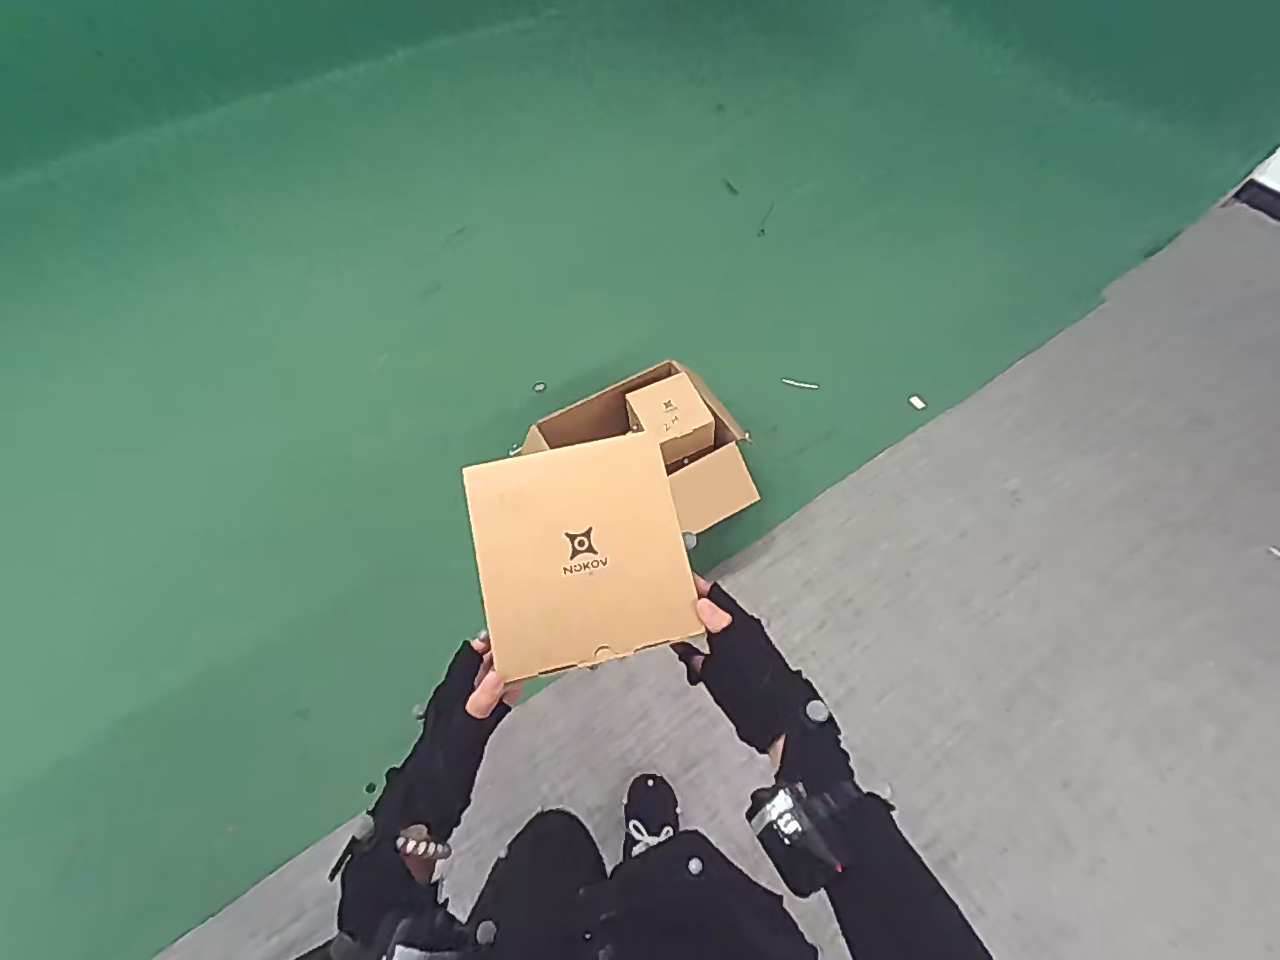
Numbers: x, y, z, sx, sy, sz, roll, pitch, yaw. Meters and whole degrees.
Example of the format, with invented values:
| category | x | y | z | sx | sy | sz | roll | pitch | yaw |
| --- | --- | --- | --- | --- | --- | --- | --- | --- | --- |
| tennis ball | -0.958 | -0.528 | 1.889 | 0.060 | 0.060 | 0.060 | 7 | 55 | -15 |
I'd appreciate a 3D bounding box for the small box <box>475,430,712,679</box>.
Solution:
| category | x | y | z | sx | sy | sz | roll | pitch | yaw |
| --- | --- | --- | --- | --- | --- | --- | --- | --- | --- |
| small box | -0.048 | 0.072 | 0.511 | 0.168 | 0.176 | 0.179 | -12 | 78 | -8 |
